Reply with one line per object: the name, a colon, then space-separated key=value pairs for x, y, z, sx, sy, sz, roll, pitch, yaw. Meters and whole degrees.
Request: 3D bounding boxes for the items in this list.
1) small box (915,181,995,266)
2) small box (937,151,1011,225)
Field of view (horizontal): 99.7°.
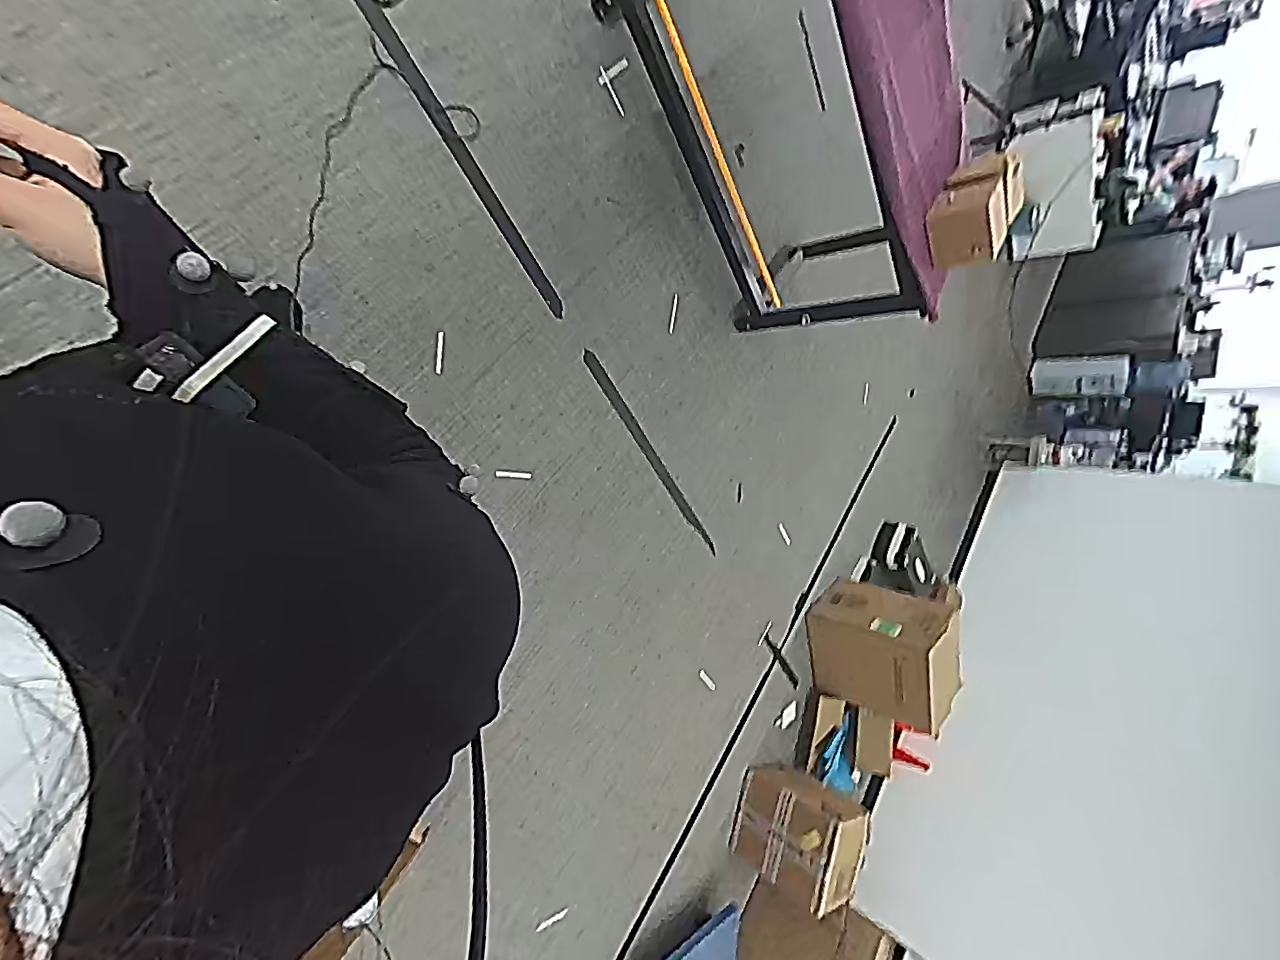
small box: x=0.972 y=-0.781 z=1.668 sx=0.168 sy=0.176 sz=0.179 roll=-53 pitch=128 yaw=-28
small box: x=1.081 y=-0.926 z=1.753 sx=0.168 sy=0.176 sz=0.179 roll=-47 pitch=127 yaw=-28
